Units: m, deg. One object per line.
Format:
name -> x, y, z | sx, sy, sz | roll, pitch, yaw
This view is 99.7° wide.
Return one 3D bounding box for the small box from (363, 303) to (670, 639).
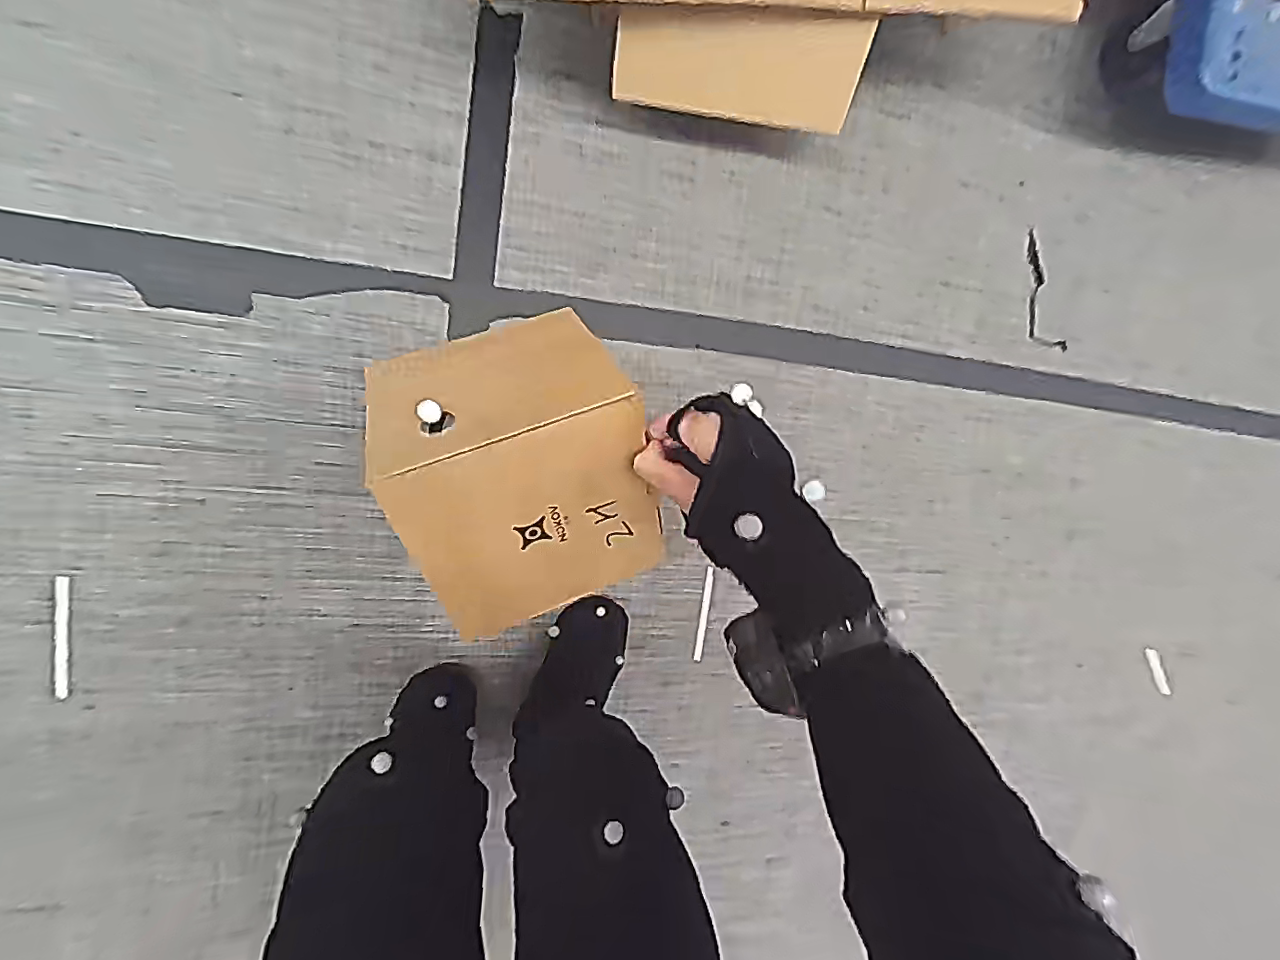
small box -> -0.093, -0.016, 0.424 | 0.179, 0.176, 0.168 | -20, 133, -12
